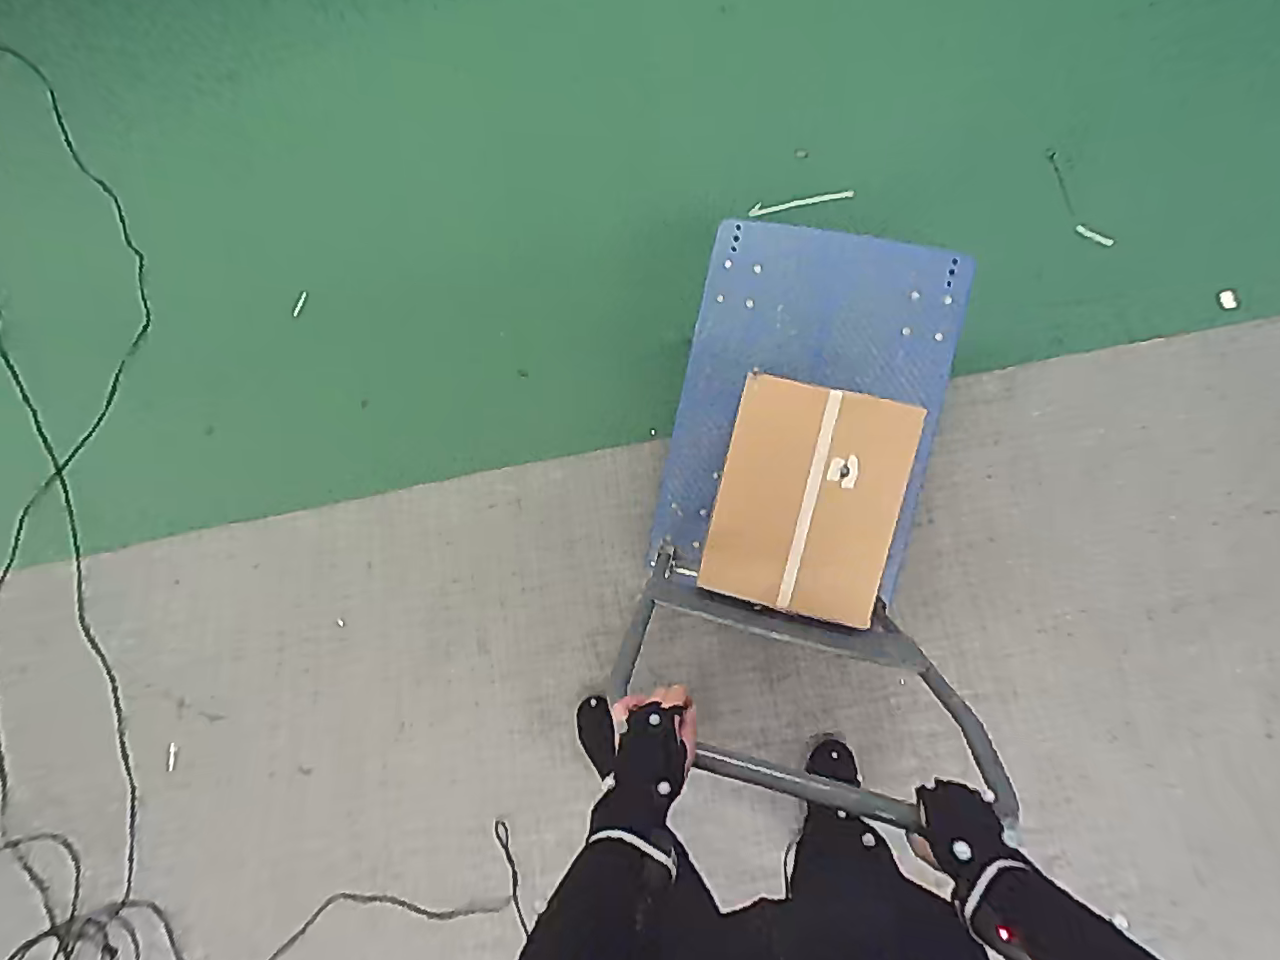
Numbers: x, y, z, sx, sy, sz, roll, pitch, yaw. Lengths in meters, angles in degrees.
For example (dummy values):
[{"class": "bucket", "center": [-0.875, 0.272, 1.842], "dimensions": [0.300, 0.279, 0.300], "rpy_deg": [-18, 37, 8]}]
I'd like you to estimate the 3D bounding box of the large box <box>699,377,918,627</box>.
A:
[{"class": "large box", "center": [0.319, 0.036, 1.114], "dimensions": [0.320, 0.320, 0.408], "rpy_deg": [13, 93, 8]}]
